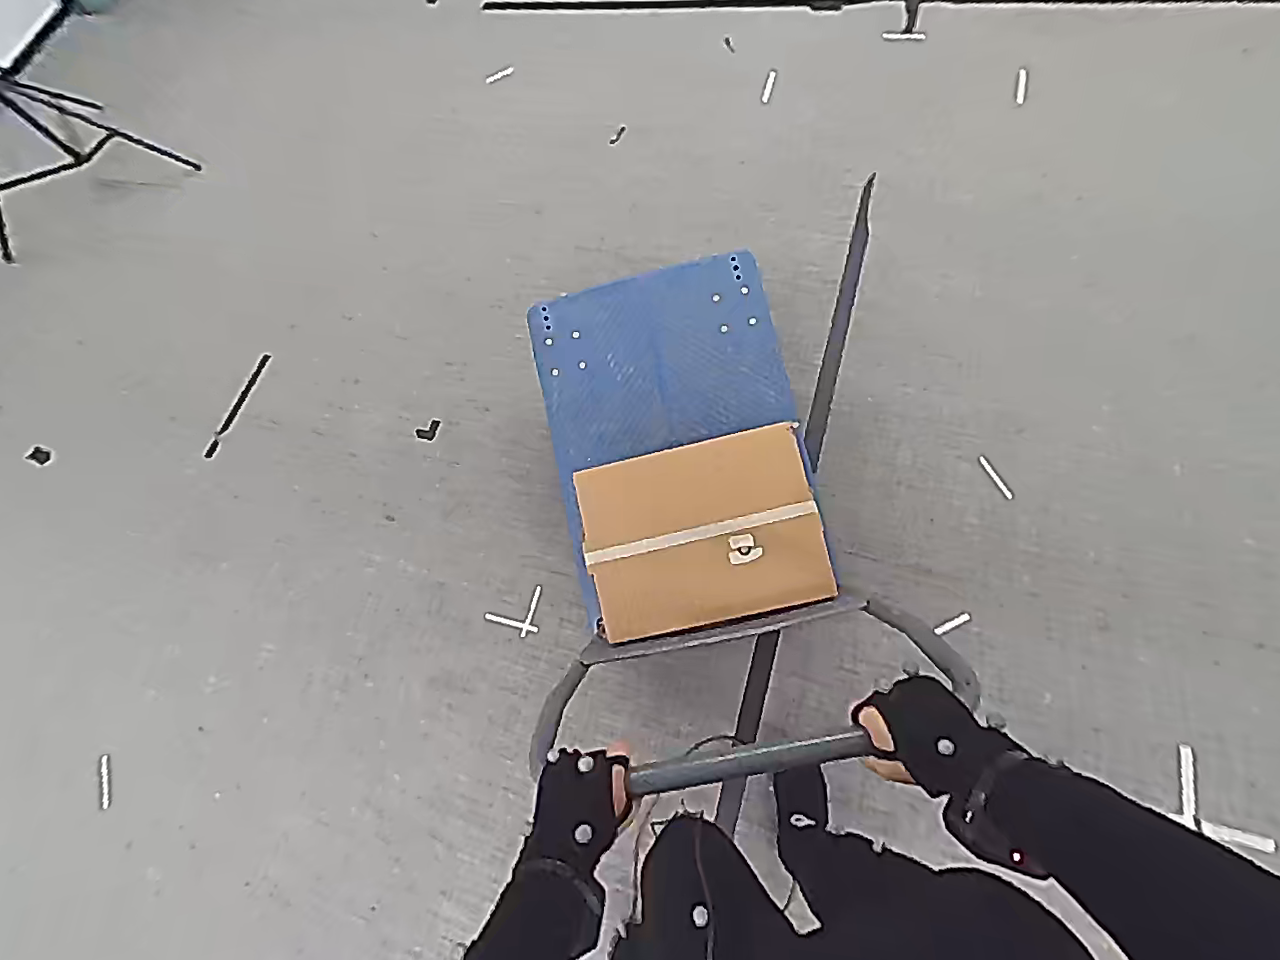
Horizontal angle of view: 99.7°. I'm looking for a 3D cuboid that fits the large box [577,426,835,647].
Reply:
[{"bbox_3d":[0.123,0.119,1.109,0.408,0.320,0.320,-15,83,3],"label":"large box"}]
